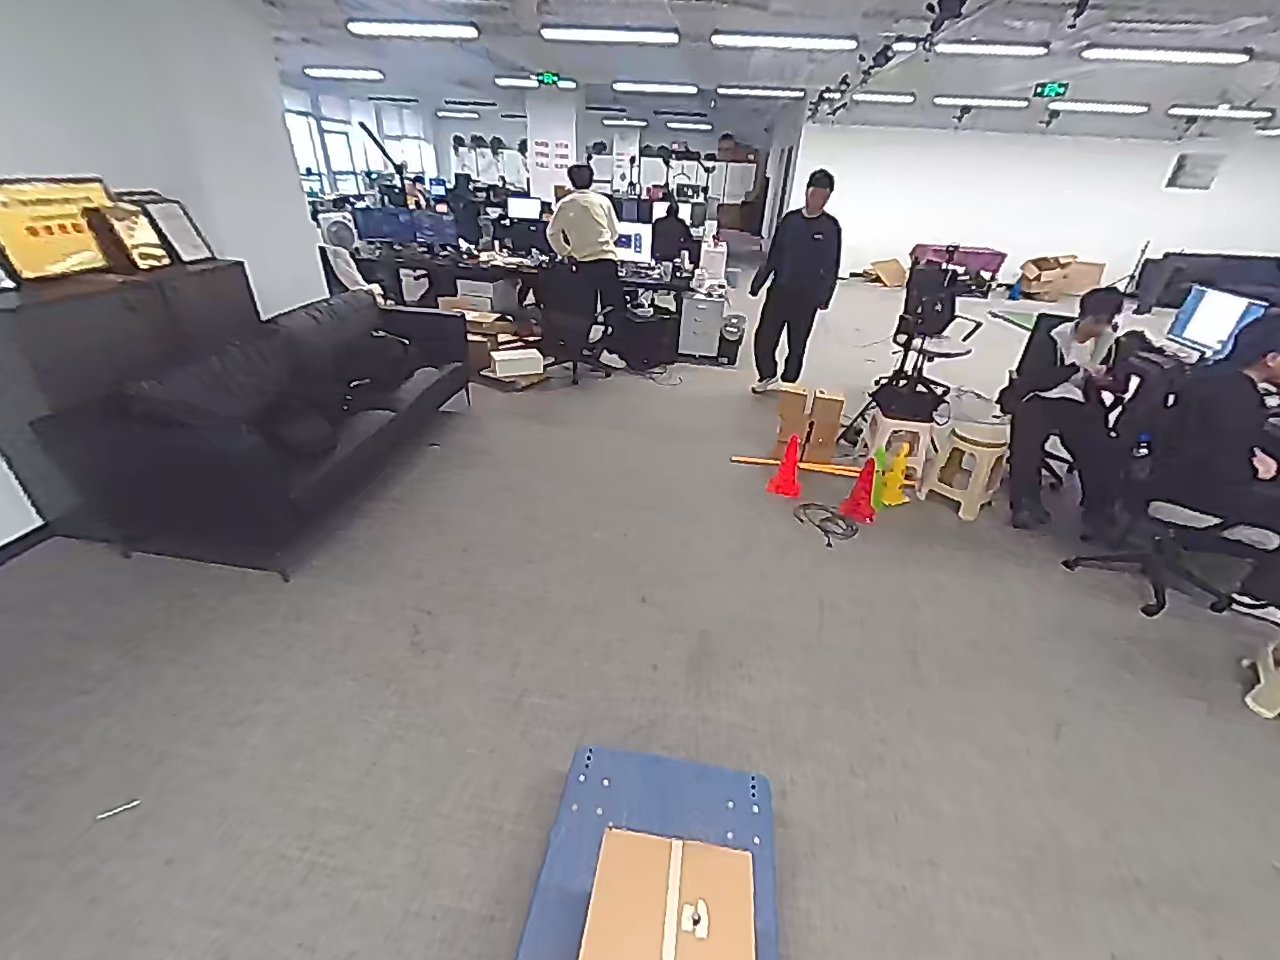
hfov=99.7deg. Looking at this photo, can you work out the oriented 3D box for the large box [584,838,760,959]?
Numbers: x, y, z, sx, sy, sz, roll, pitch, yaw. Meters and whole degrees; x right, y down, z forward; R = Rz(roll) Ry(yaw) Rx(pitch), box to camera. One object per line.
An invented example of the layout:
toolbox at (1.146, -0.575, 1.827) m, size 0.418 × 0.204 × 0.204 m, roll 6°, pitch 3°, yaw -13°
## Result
large box at (0.051, 0.985, 1.011) m, size 0.320 × 0.320 × 0.408 m, roll 7°, pitch 29°, yaw 6°
